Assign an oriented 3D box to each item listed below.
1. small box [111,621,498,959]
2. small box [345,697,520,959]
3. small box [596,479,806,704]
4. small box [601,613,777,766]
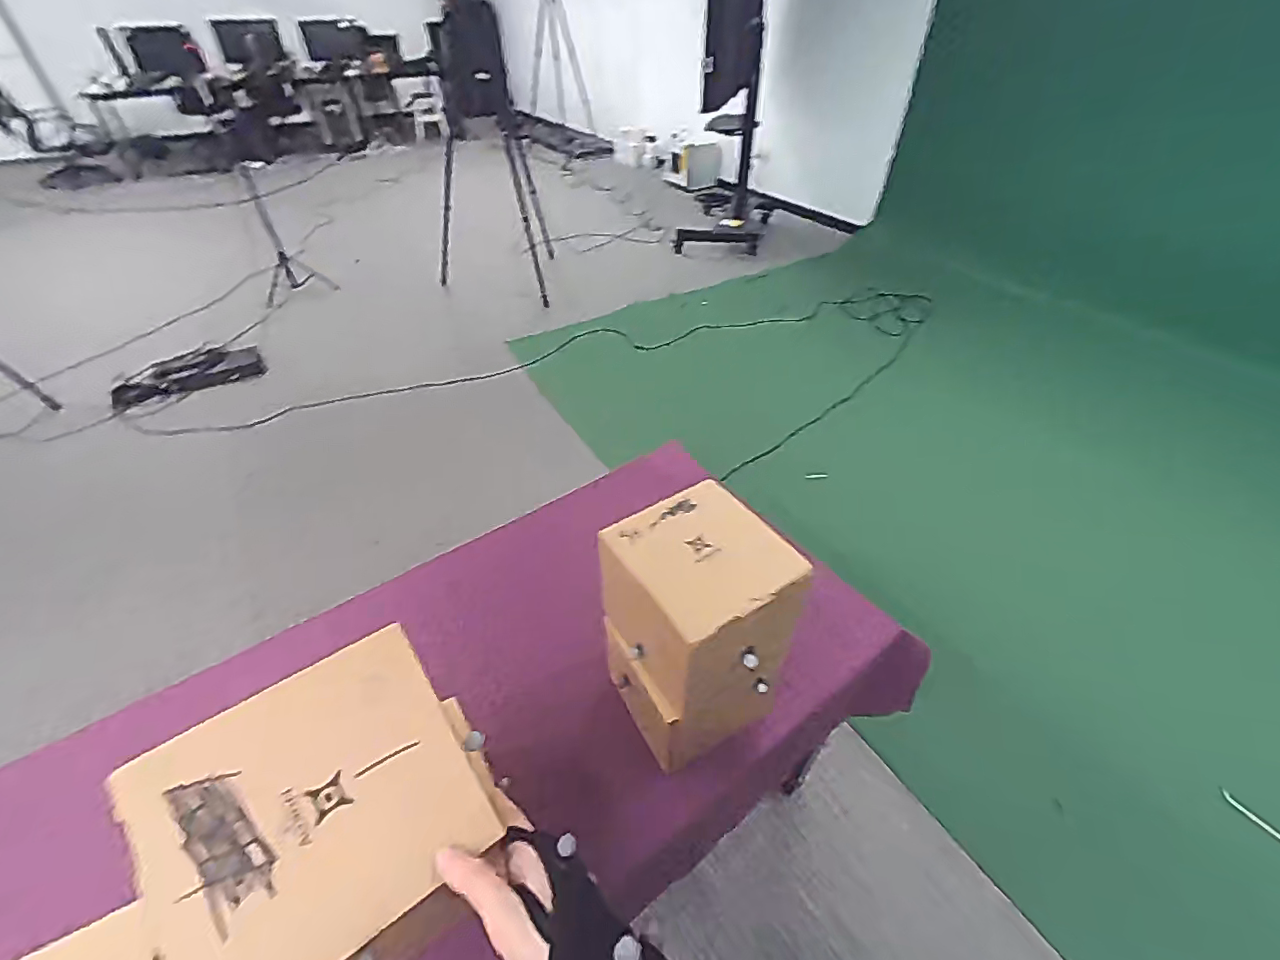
[{"bbox_3d":[-0.217,0.239,0.398,0.179,0.176,0.168,-26,69,-27],"label":"small box"},{"bbox_3d":[-0.248,0.391,0.612,0.179,0.176,0.168,-24,47,-23],"label":"small box"},{"bbox_3d":[0.063,0.136,0.643,0.168,0.176,0.179,-24,48,-24],"label":"small box"},{"bbox_3d":[0.062,0.258,0.753,0.179,0.176,0.168,-21,46,-21],"label":"small box"}]
